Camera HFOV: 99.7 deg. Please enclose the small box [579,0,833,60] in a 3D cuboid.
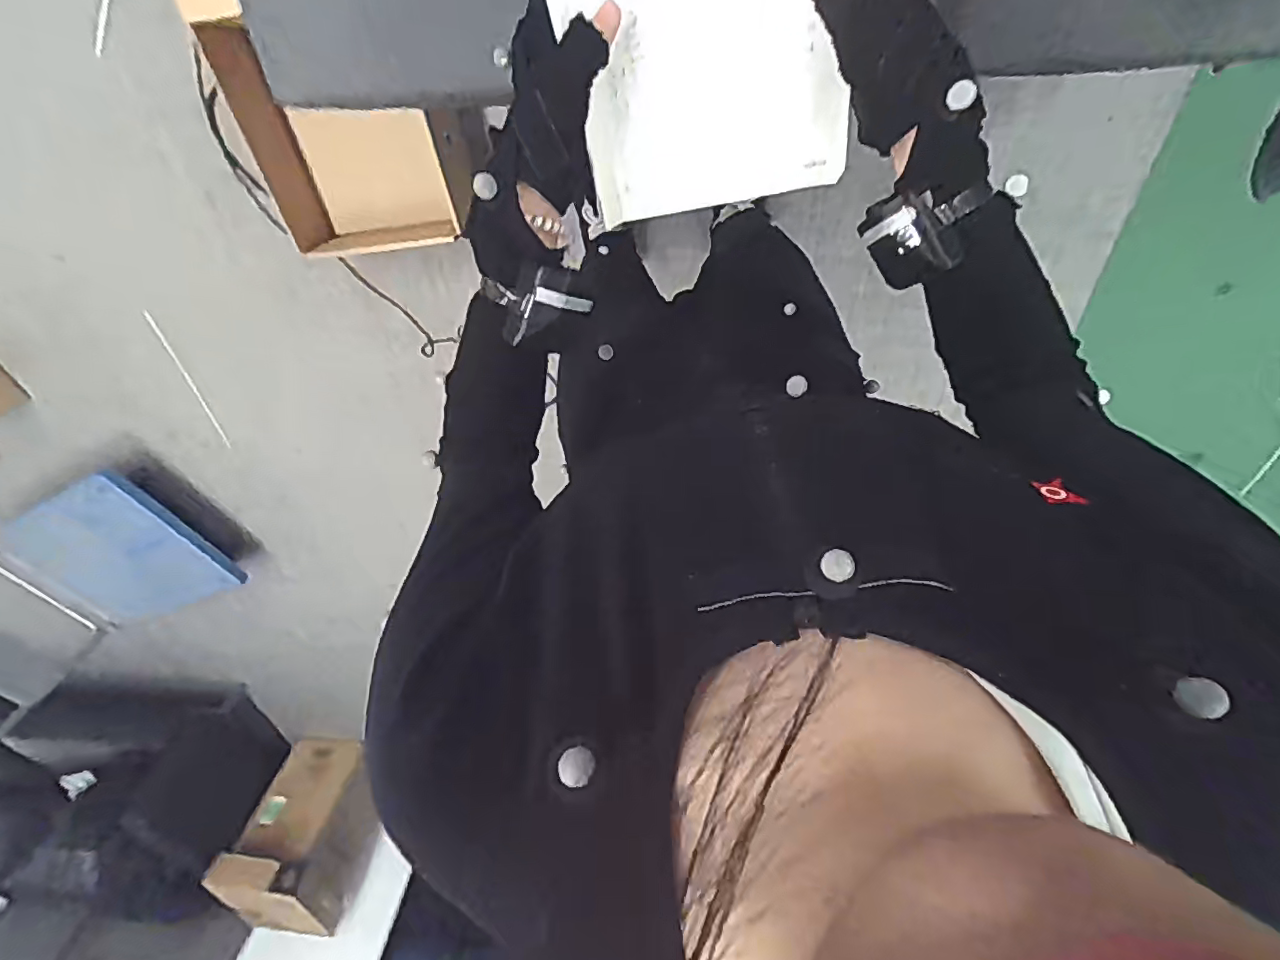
[{"bbox_3d":[0.033,-0.411,0.368,0.168,0.176,0.179,-6,130,6],"label":"small box"}]
